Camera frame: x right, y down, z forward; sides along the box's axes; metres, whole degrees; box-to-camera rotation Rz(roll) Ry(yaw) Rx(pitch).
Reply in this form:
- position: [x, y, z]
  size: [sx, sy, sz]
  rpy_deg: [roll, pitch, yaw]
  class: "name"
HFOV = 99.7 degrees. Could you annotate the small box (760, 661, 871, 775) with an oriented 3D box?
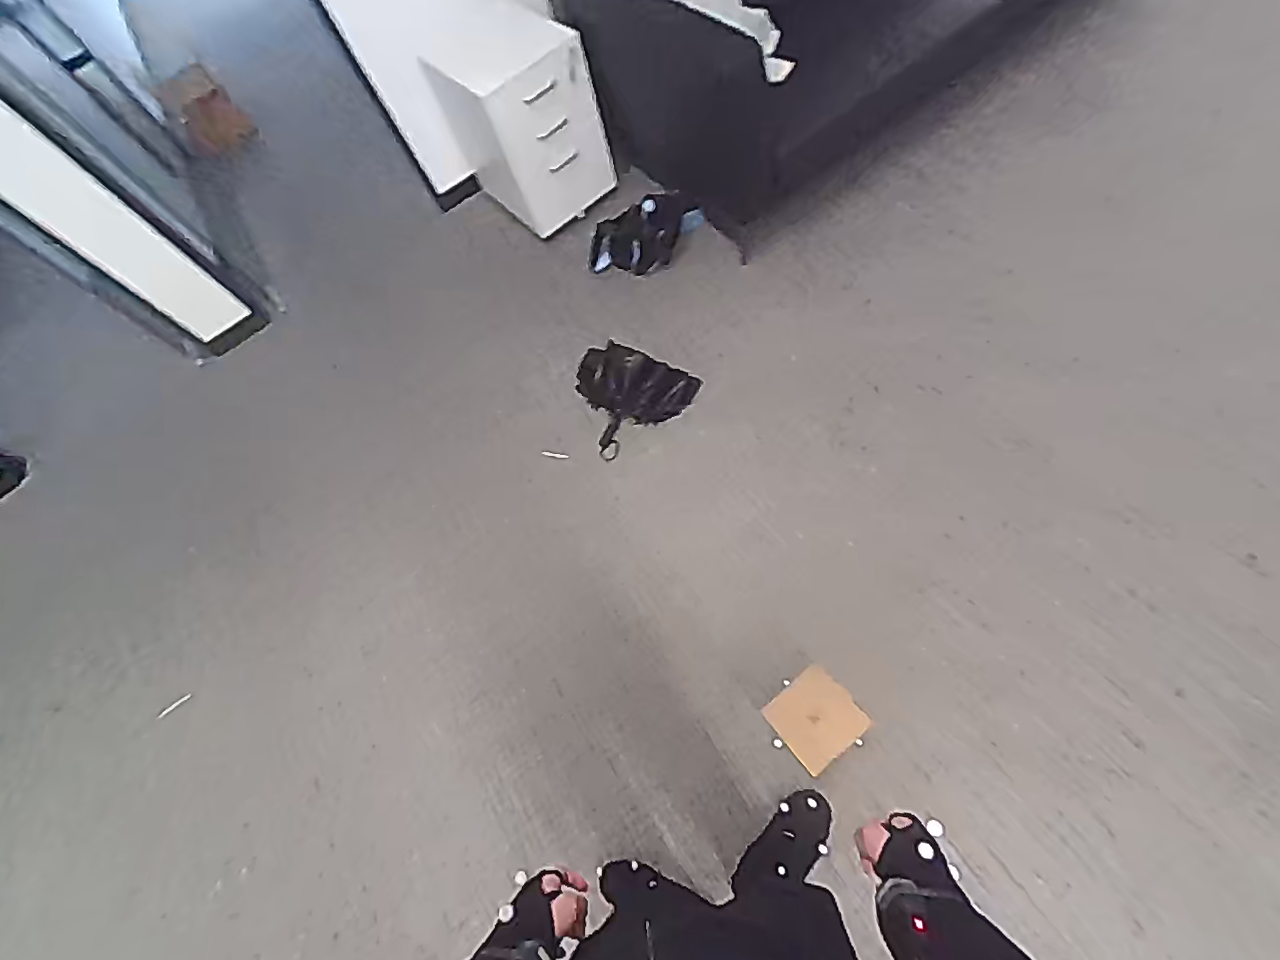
- position: [0.398, 0.550, 1.251]
  size: [0.179, 0.176, 0.168]
  rpy_deg: [-39, 61, -6]
  class: "small box"
